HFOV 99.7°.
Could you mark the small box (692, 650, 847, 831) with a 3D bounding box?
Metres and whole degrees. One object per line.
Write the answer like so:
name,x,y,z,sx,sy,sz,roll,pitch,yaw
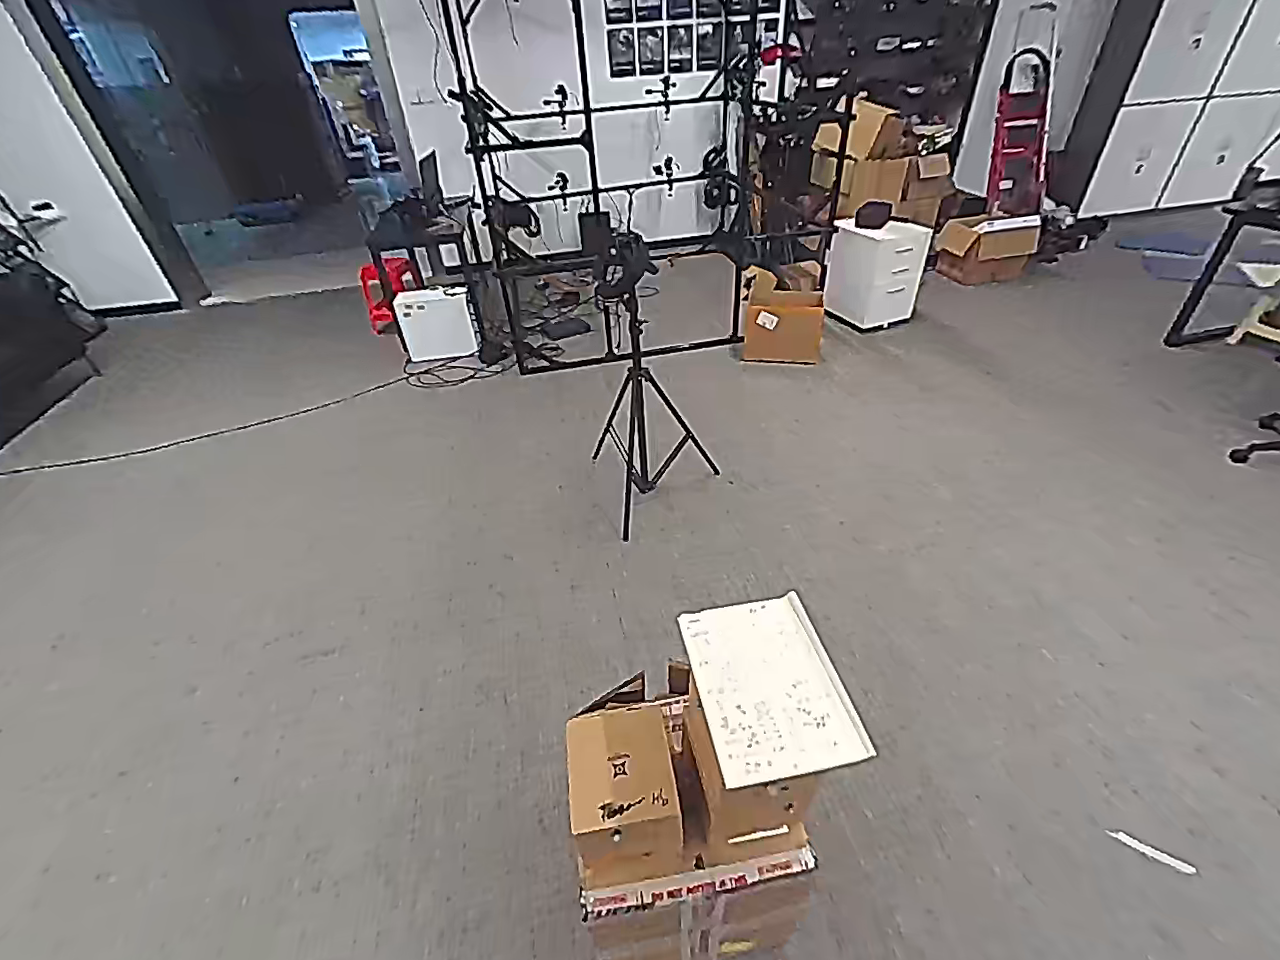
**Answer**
small box,0.178,0.387,0.809,0.168,0.176,0.179,-7,40,-7
